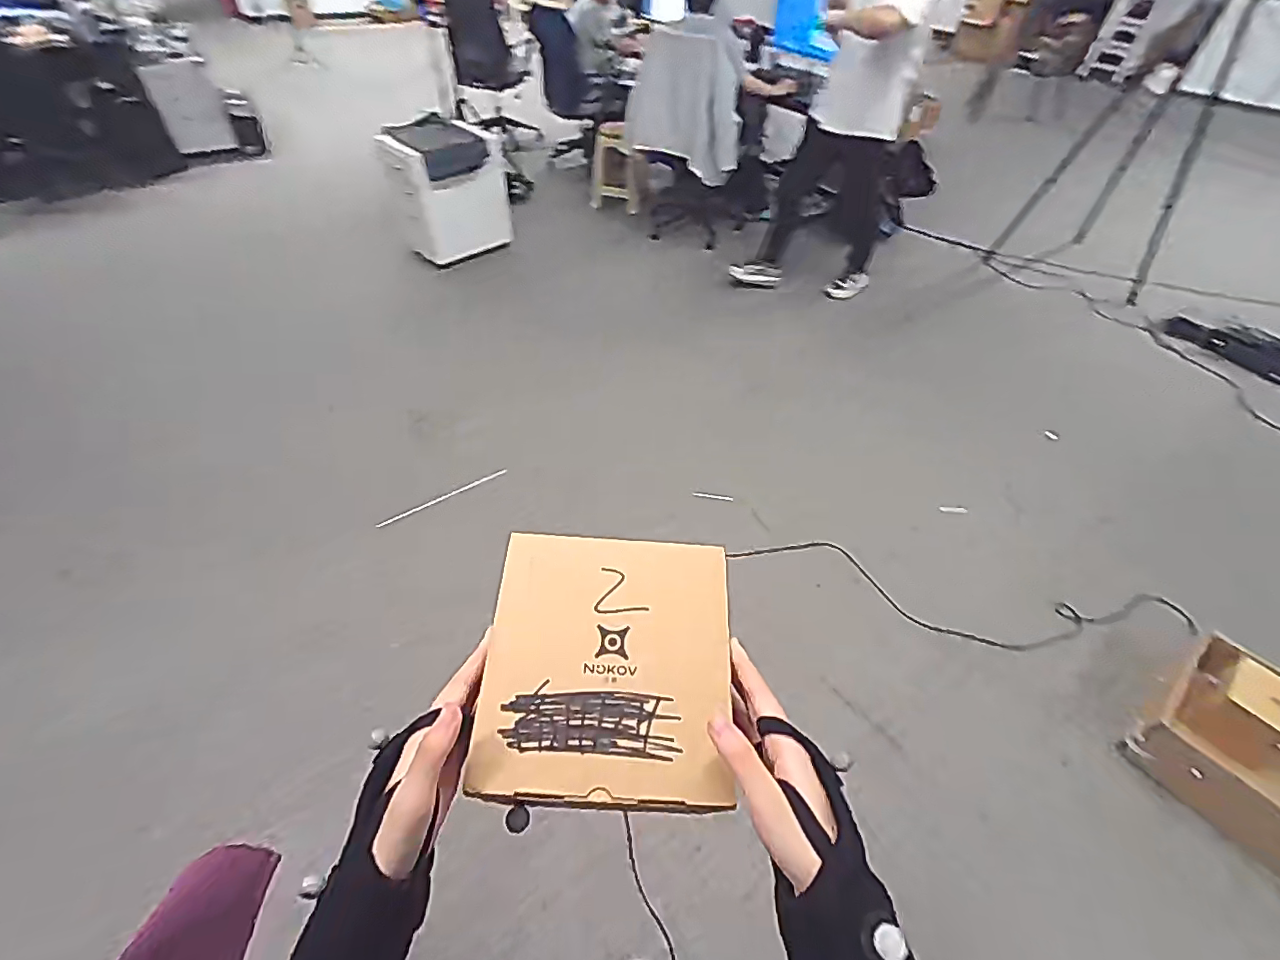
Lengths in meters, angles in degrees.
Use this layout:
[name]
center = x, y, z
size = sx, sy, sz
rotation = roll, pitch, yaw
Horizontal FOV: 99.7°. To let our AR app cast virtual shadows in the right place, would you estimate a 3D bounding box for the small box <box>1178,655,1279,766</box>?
[small box]
center = 1.546, 0.589, 1.377
size = 0.168, 0.176, 0.179
rotation = -33, 58, -26
